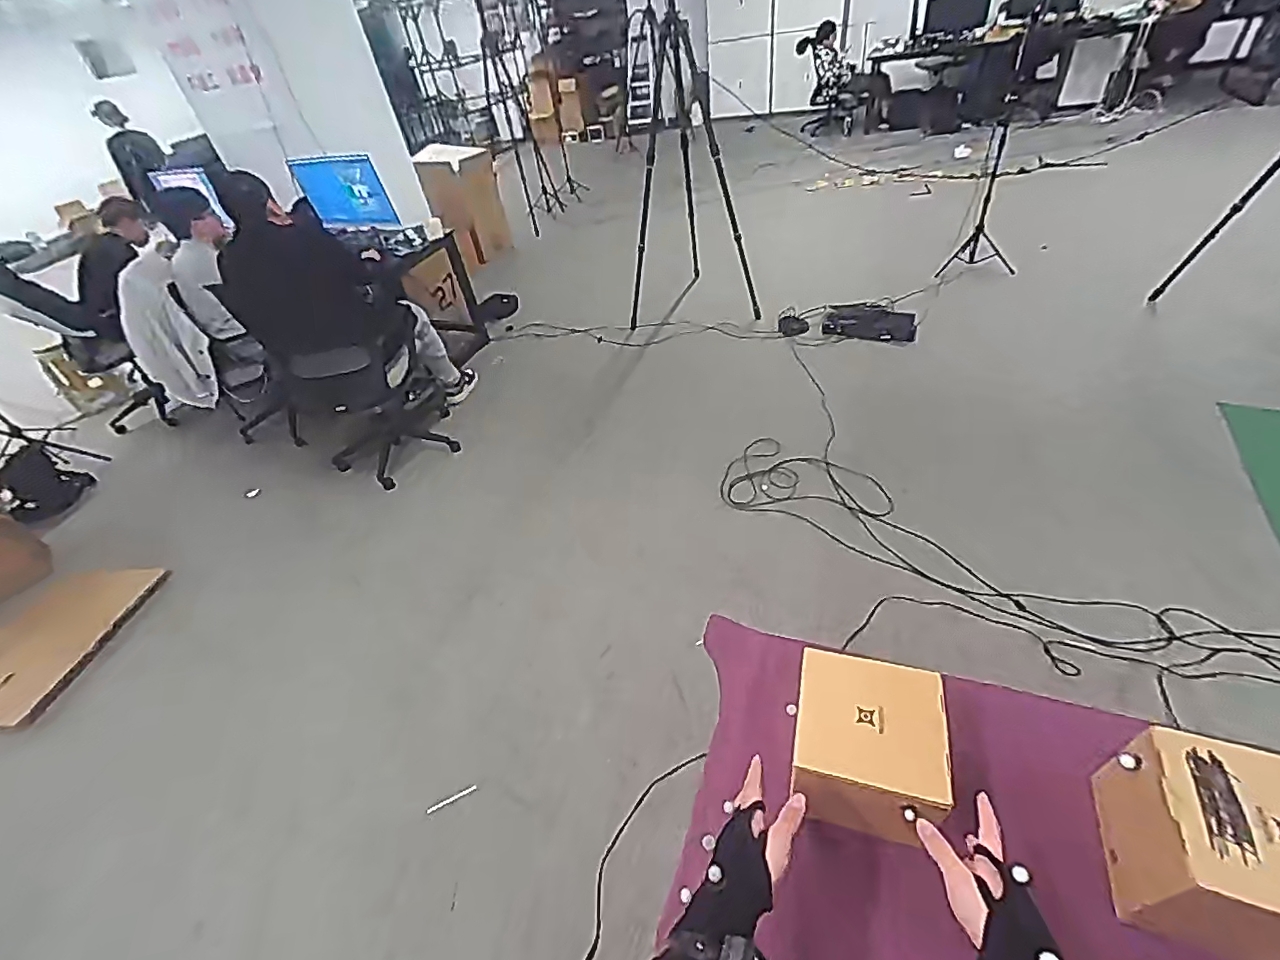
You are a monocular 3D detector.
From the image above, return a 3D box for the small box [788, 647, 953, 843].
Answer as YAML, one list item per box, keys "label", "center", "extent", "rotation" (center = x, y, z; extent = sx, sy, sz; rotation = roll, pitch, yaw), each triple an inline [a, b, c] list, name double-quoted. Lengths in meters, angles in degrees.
- label: "small box"
  center: [0.298, 0.355, 0.727]
  extent: [0.179, 0.176, 0.168]
  rotation: [7, 44, 18]
